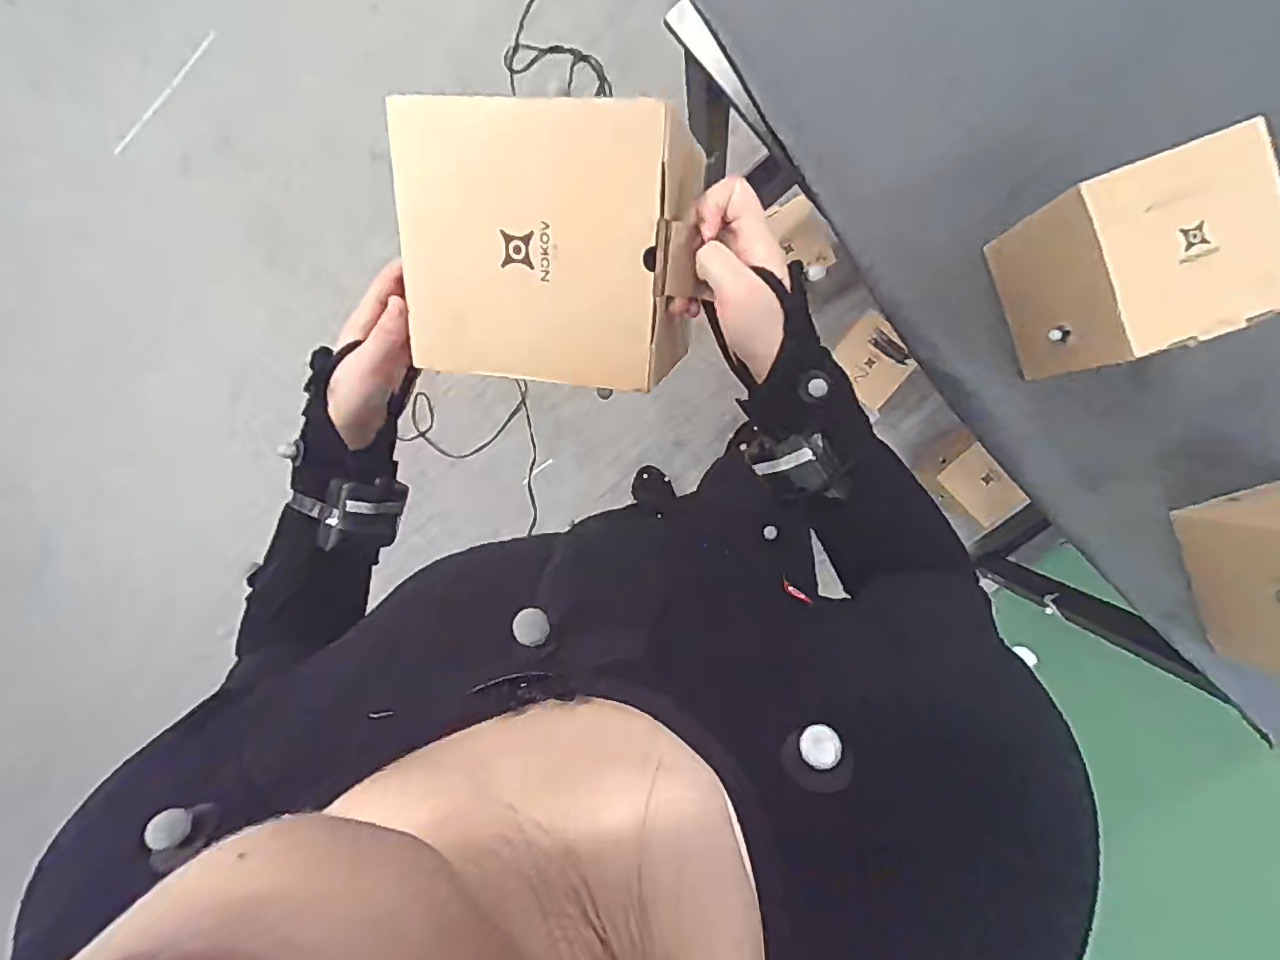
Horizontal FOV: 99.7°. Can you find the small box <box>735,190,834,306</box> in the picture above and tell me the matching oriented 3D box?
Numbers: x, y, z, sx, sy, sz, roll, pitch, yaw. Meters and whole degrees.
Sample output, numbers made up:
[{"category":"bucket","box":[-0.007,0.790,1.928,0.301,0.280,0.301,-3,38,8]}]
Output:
[{"category":"small box","box":[0.340,-0.550,1.309,0.168,0.176,0.179,-27,91,9]}]

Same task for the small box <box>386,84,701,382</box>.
[{"category":"small box","box":[-0.056,-0.178,0.411,0.179,0.176,0.168,7,113,10]}]

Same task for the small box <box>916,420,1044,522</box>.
[{"category":"small box","box":[0.797,-0.027,1.299,0.179,0.176,0.168,-45,89,9]}]

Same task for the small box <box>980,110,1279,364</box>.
[{"category":"small box","box":[0.511,-0.235,0.580,0.168,0.176,0.179,-20,91,5]}]
